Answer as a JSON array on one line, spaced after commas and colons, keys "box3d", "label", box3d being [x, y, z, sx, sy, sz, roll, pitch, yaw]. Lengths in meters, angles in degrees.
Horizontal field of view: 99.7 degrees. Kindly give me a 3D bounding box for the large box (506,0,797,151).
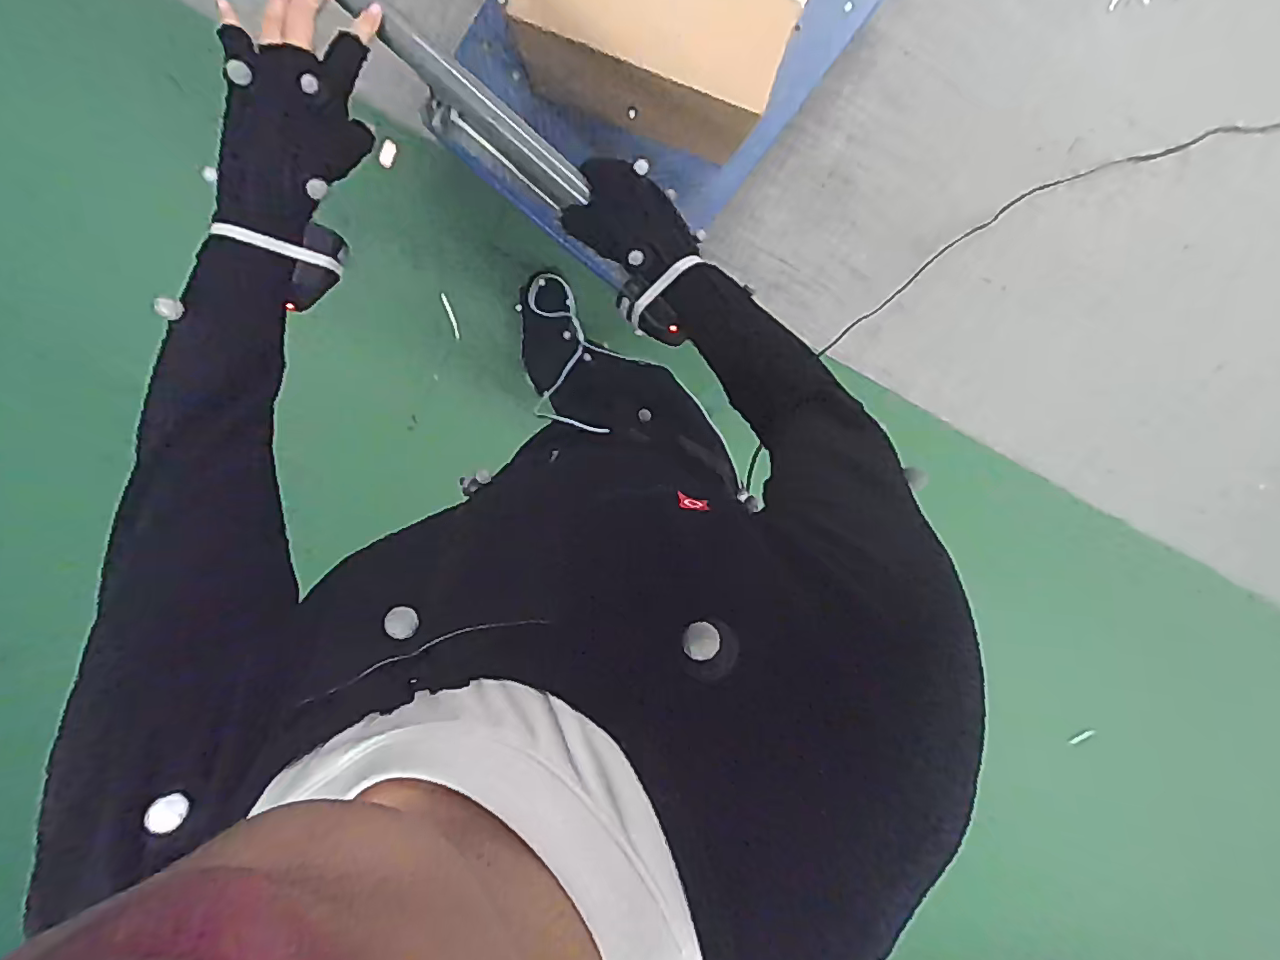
[{"box3d": [0.040, -0.804, 0.889, 0.408, 0.320, 0.320, 17, 107, -7], "label": "large box"}]
